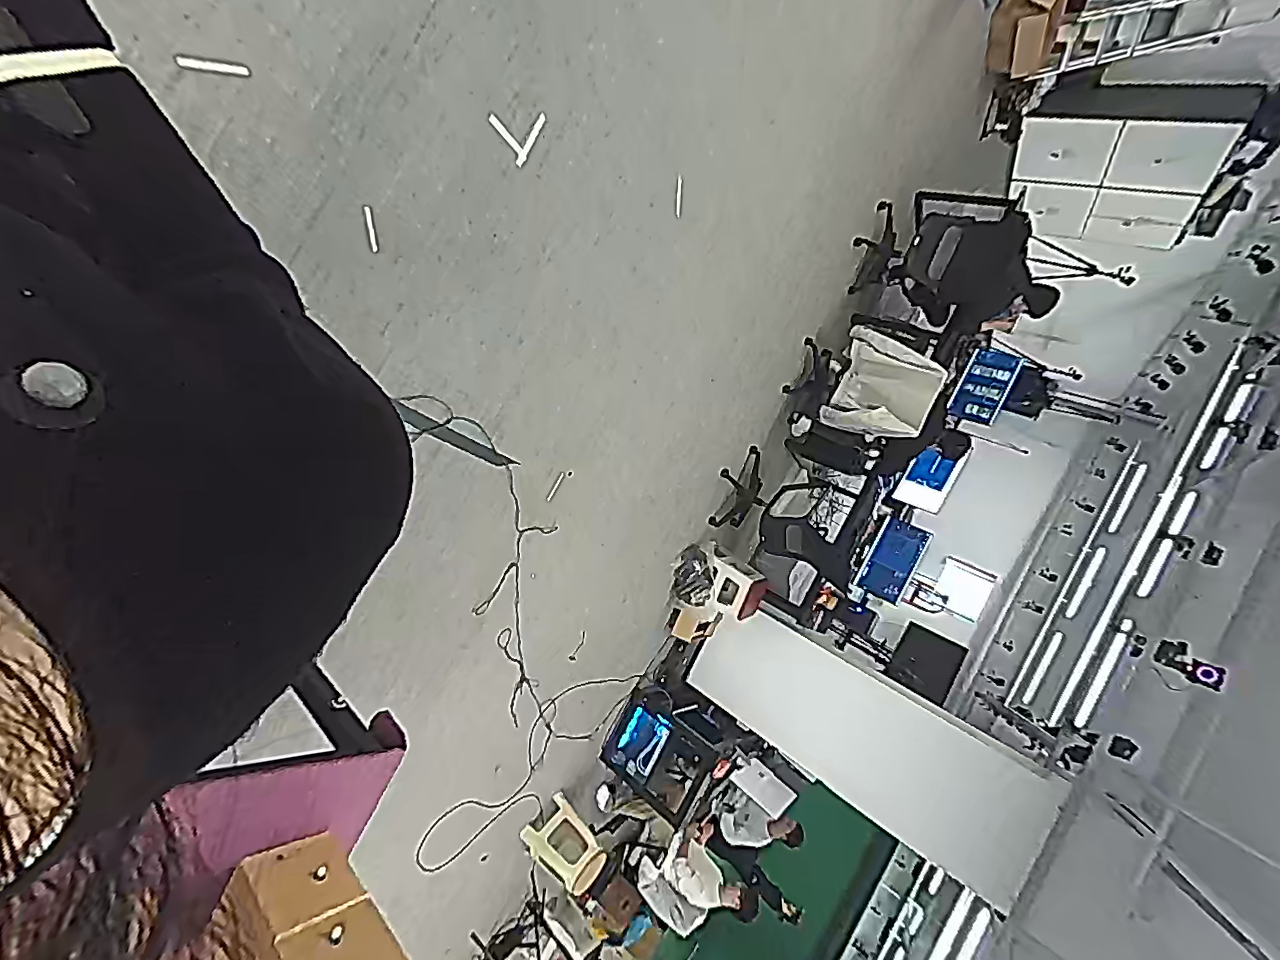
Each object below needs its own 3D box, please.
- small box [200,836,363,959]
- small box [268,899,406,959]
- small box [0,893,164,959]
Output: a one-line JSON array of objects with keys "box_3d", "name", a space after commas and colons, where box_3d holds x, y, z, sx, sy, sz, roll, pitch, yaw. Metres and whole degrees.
[{"box_3d": [-0.650, 0.789, 0.979, 0.168, 0.176, 0.179, 25, 92, -58], "name": "small box"}, {"box_3d": [-0.526, 0.861, 0.898, 0.179, 0.176, 0.168, 22, 96, -58], "name": "small box"}, {"box_3d": [-0.783, 0.713, 0.727, 0.179, 0.176, 0.168, 28, 89, -58], "name": "small box"}]
